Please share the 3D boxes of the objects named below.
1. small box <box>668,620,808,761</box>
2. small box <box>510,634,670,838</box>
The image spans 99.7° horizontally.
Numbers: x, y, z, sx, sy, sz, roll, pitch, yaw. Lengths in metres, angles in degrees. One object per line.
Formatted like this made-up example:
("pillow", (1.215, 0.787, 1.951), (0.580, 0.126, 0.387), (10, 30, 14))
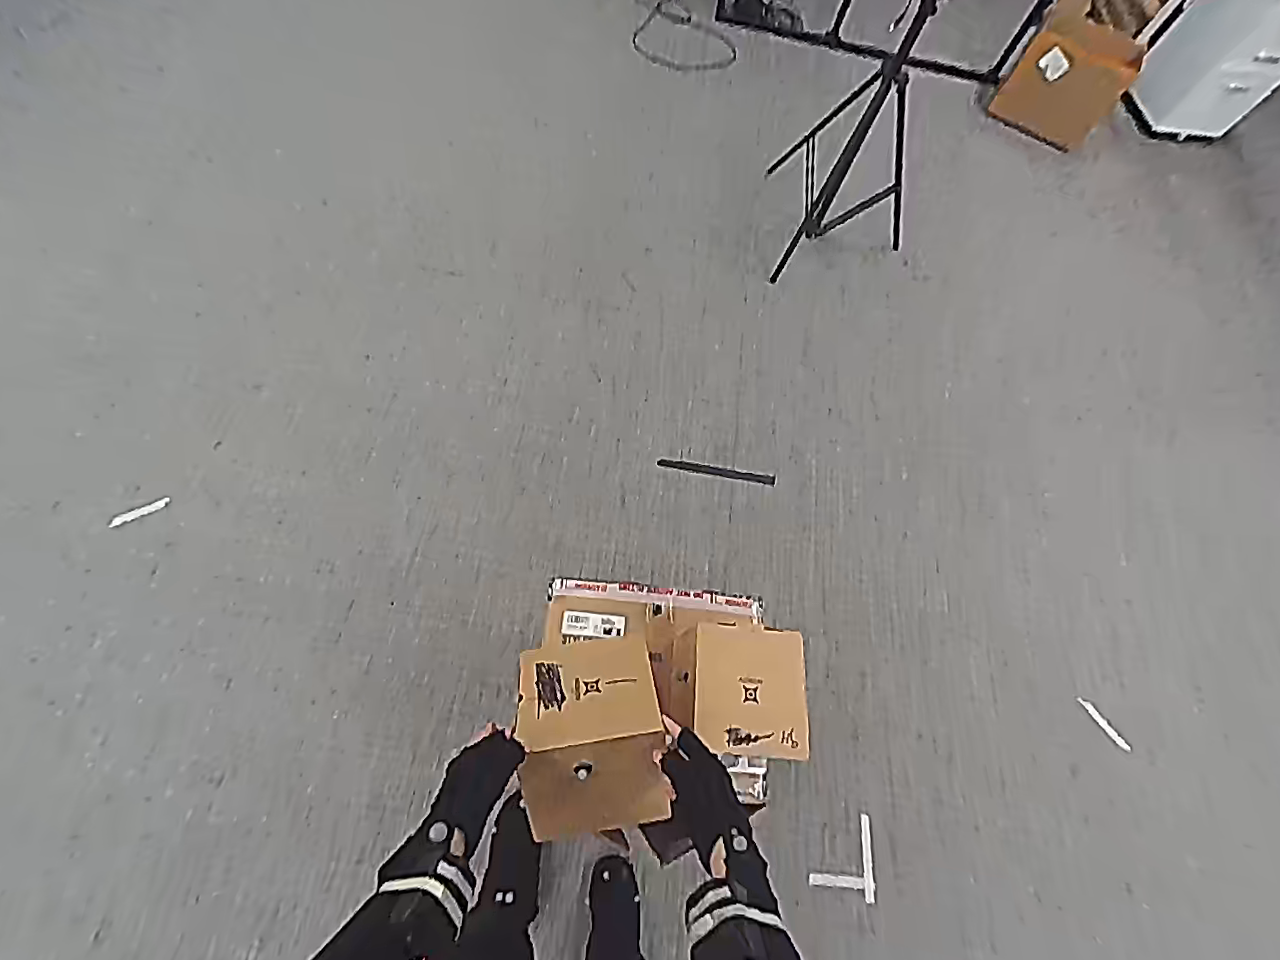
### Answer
("small box", (0.141, 0.329, 0.834), (0.168, 0.176, 0.179), (8, 63, -6))
("small box", (-0.063, 0.333, 0.711), (0.179, 0.176, 0.168), (-7, 26, -6))
